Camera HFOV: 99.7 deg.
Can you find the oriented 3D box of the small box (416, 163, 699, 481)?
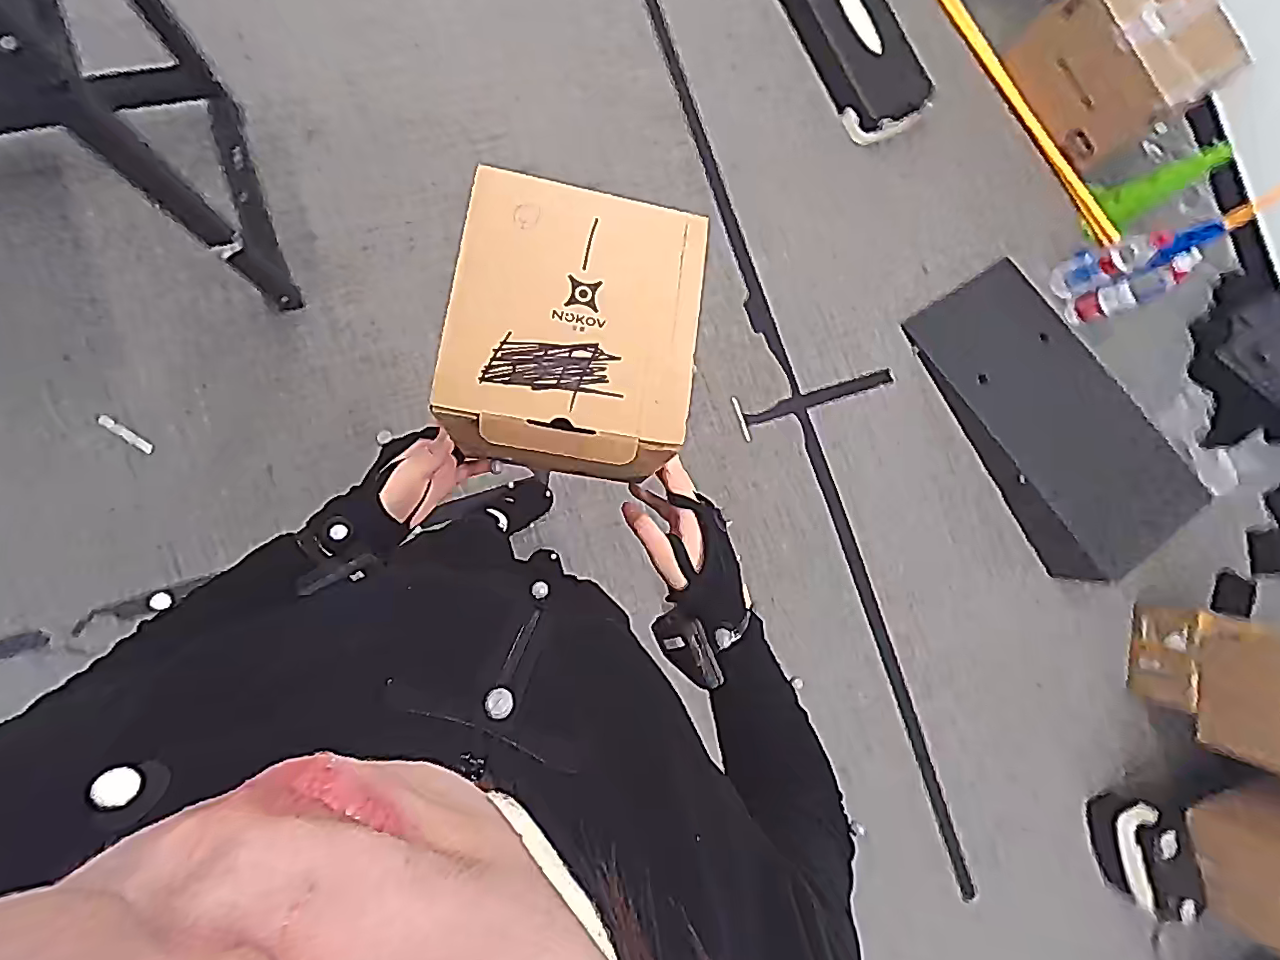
[{"bbox_3d":[-0.061,-0.101,0.431,0.168,0.176,0.179,8,80,-10],"label":"small box"}]

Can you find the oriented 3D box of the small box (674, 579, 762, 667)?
[{"bbox_3d":[0.207,0.382,1.474,0.168,0.176,0.179,-15,89,-12],"label":"small box"}]
